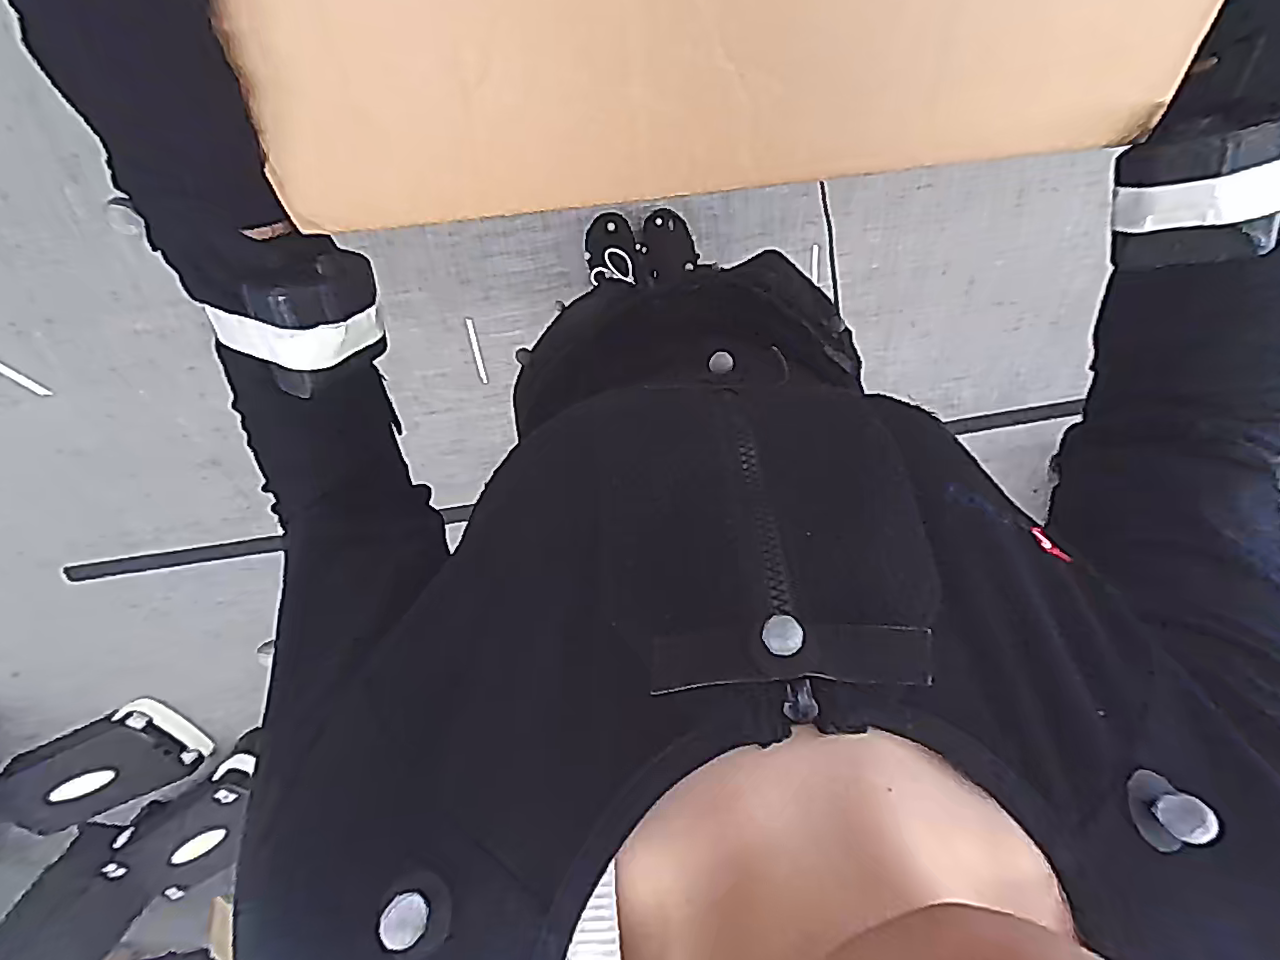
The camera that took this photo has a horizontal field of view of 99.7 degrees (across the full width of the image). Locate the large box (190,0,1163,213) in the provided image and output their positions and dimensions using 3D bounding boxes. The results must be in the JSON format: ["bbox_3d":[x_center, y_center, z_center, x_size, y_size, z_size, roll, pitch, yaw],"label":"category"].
[{"bbox_3d":[0.009,-0.365,0.248,0.408,0.320,0.320,-7,137,-1],"label":"large box"}]
